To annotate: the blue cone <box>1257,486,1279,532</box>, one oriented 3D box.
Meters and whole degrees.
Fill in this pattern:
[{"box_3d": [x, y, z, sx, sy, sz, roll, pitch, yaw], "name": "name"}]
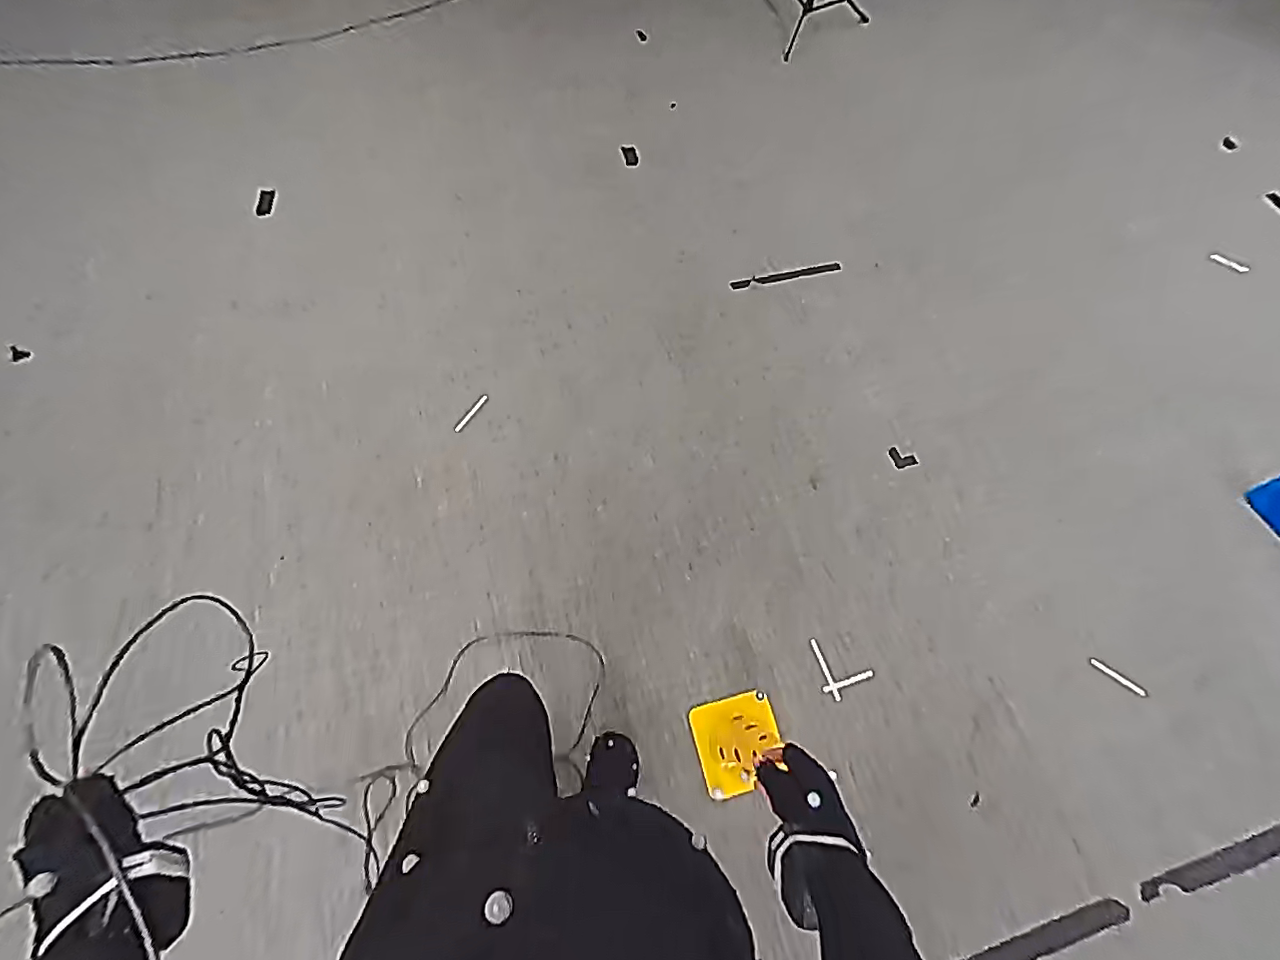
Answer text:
[{"box_3d": [1.902, 0.044, 1.402, 0.193, 0.380, 0.192, -19, 70, -10], "name": "blue cone"}]
